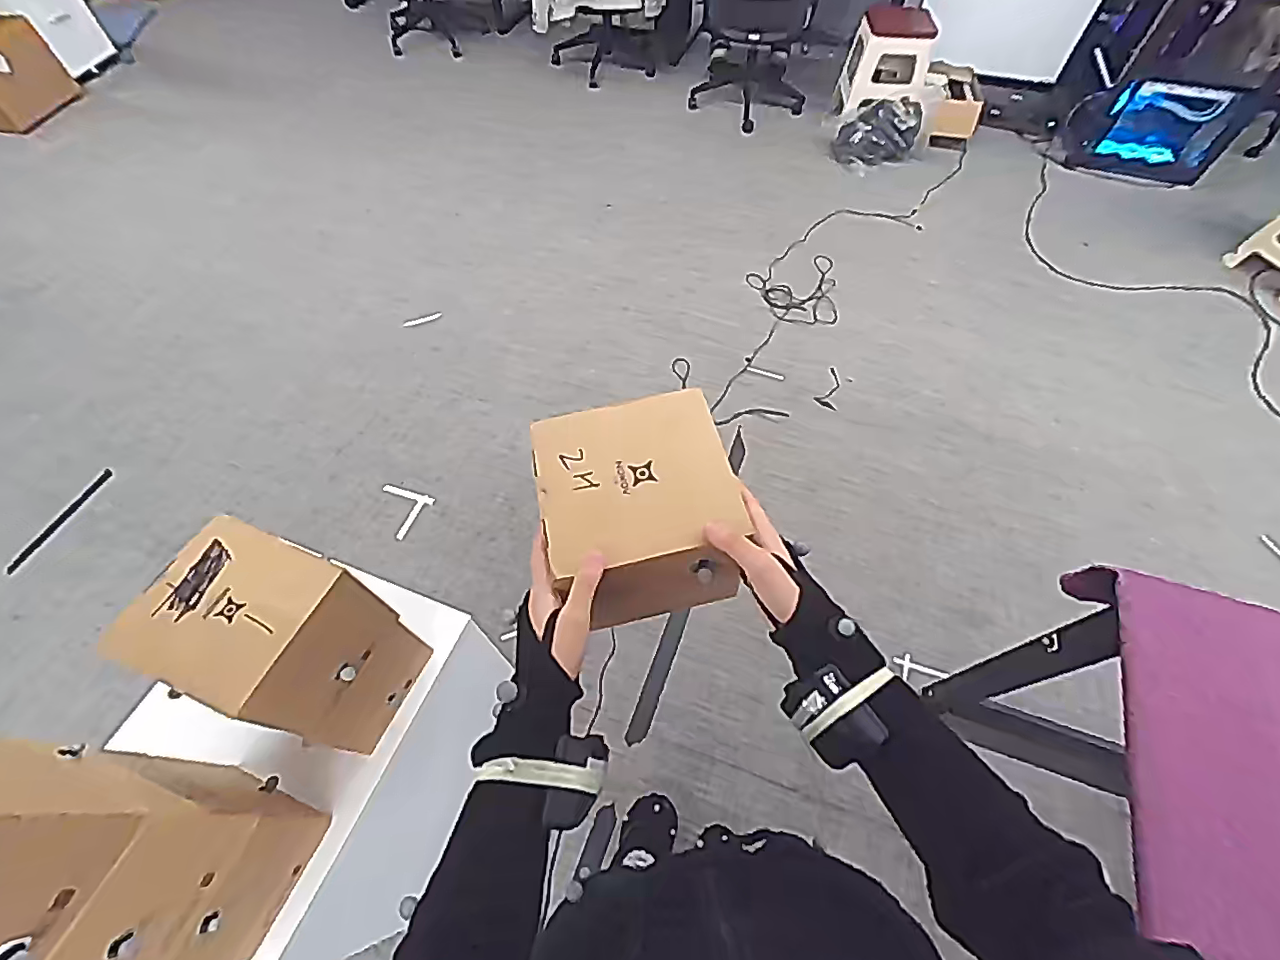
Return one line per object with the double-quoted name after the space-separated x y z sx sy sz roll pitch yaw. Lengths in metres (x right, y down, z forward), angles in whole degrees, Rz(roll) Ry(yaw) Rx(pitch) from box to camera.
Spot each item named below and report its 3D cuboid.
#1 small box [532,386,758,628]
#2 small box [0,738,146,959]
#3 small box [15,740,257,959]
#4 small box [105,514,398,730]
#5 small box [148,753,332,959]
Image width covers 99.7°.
0.002 0.034 0.550 0.179 0.176 0.168 -13 59 -3 "small box"
-0.521 0.278 0.369 0.179 0.176 0.168 17 61 10 "small box"
-0.520 0.366 0.506 0.179 0.176 0.168 17 60 11 "small box"
-0.422 0.170 0.624 0.179 0.176 0.168 20 61 11 "small box"
-0.521 0.451 0.643 0.179 0.176 0.168 18 61 12 "small box"
